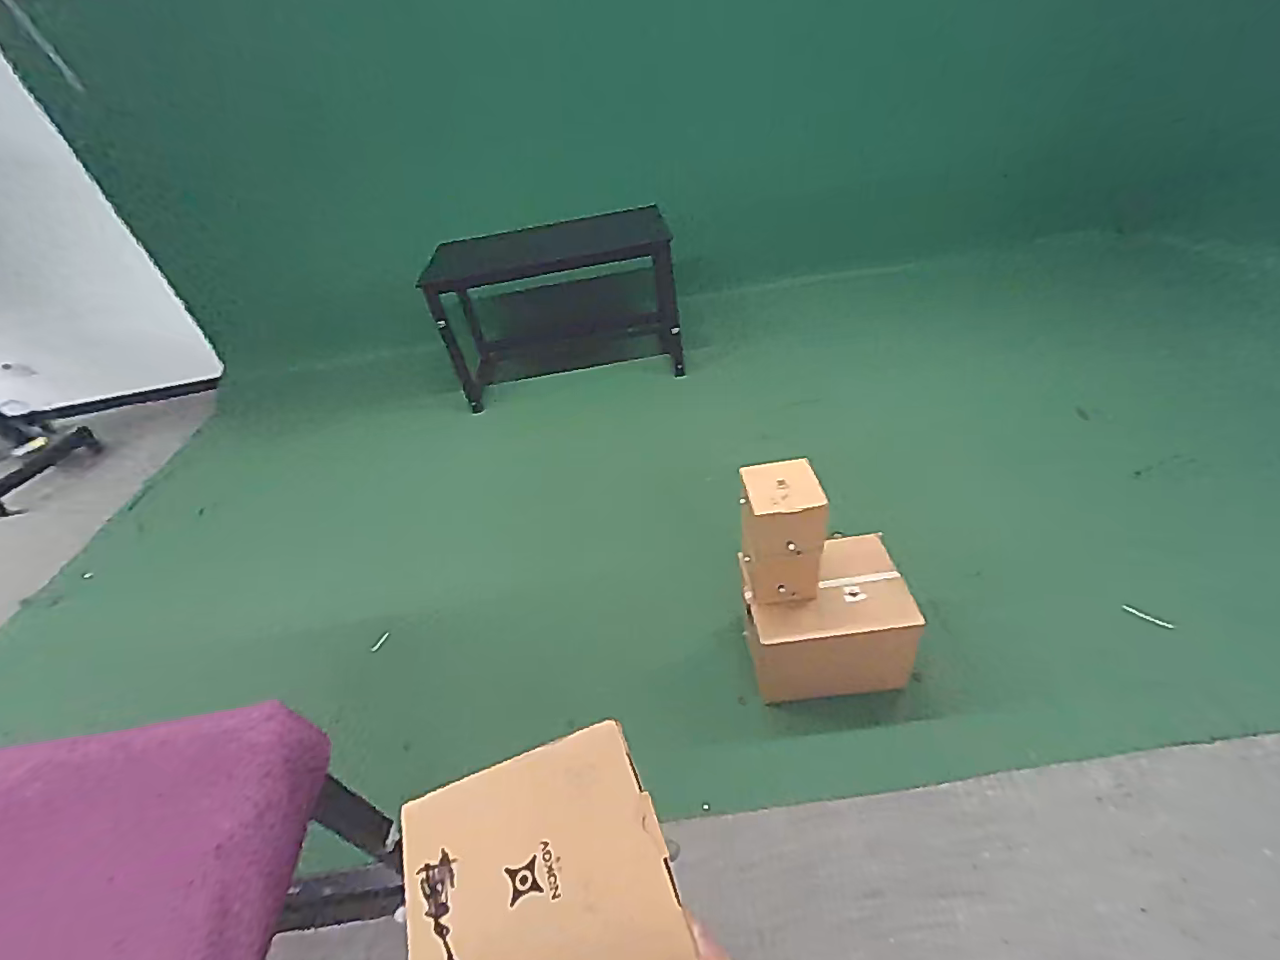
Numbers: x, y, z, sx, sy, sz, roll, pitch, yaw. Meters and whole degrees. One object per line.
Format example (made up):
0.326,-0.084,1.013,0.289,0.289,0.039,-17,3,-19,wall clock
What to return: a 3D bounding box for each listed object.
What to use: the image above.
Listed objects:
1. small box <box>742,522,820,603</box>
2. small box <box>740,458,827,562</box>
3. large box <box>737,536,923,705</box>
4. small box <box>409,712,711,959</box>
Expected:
0.361,0.197,1.420,0.168,0.176,0.179,-8,40,3,small box
0.339,0.073,1.314,0.168,0.176,0.179,-9,40,2,small box
0.505,0.397,1.529,0.408,0.320,0.320,-8,40,3,large box
-0.060,0.319,0.418,0.179,0.176,0.168,-16,43,-13,small box
